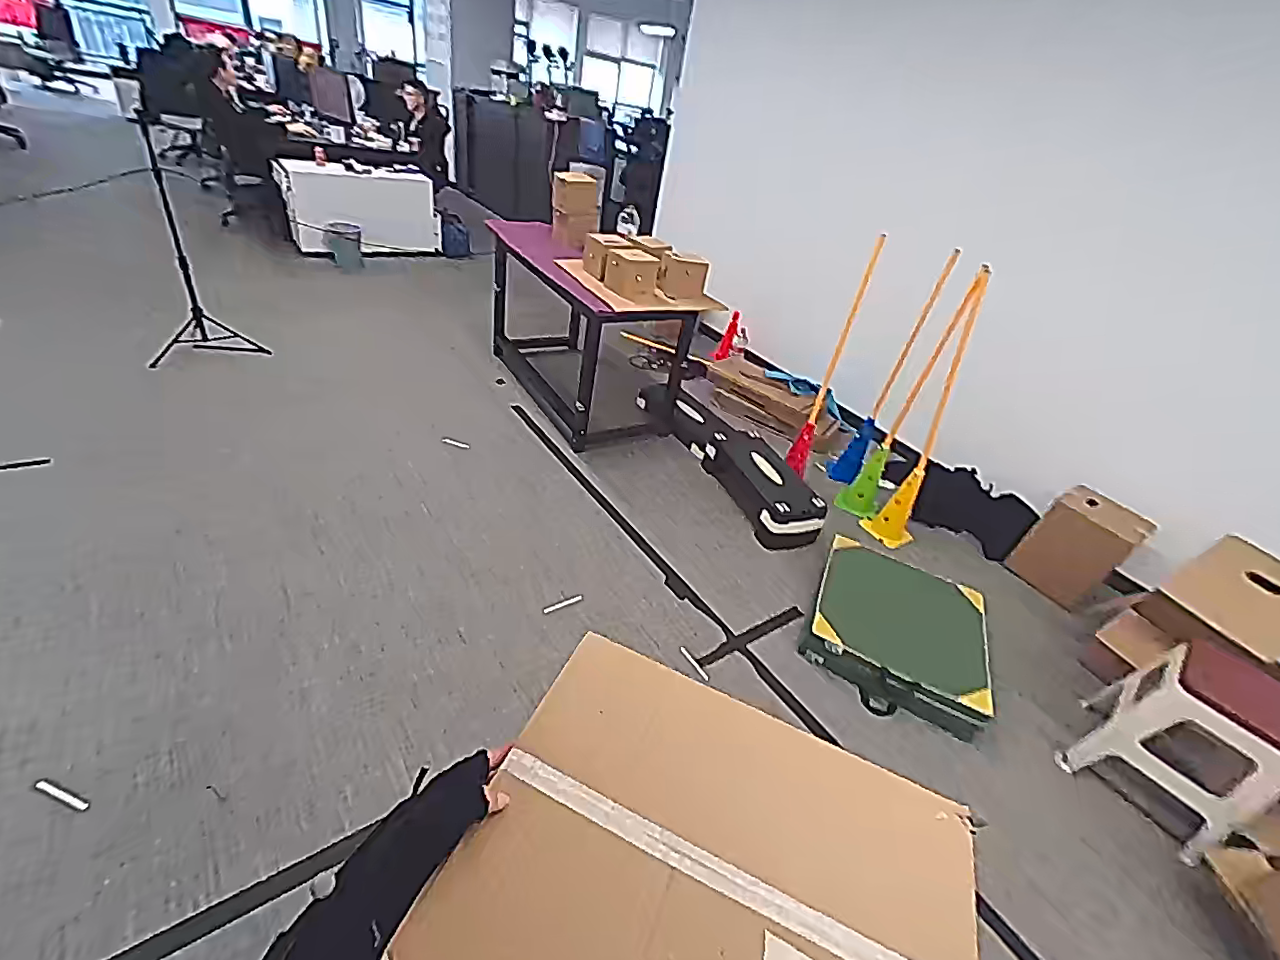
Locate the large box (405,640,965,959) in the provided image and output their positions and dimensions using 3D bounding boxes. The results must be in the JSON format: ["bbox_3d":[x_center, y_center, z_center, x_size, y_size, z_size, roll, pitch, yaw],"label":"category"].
[{"bbox_3d":[0.044,0.441,0.546,0.408,0.320,0.320,22,40,14],"label":"large box"}]
